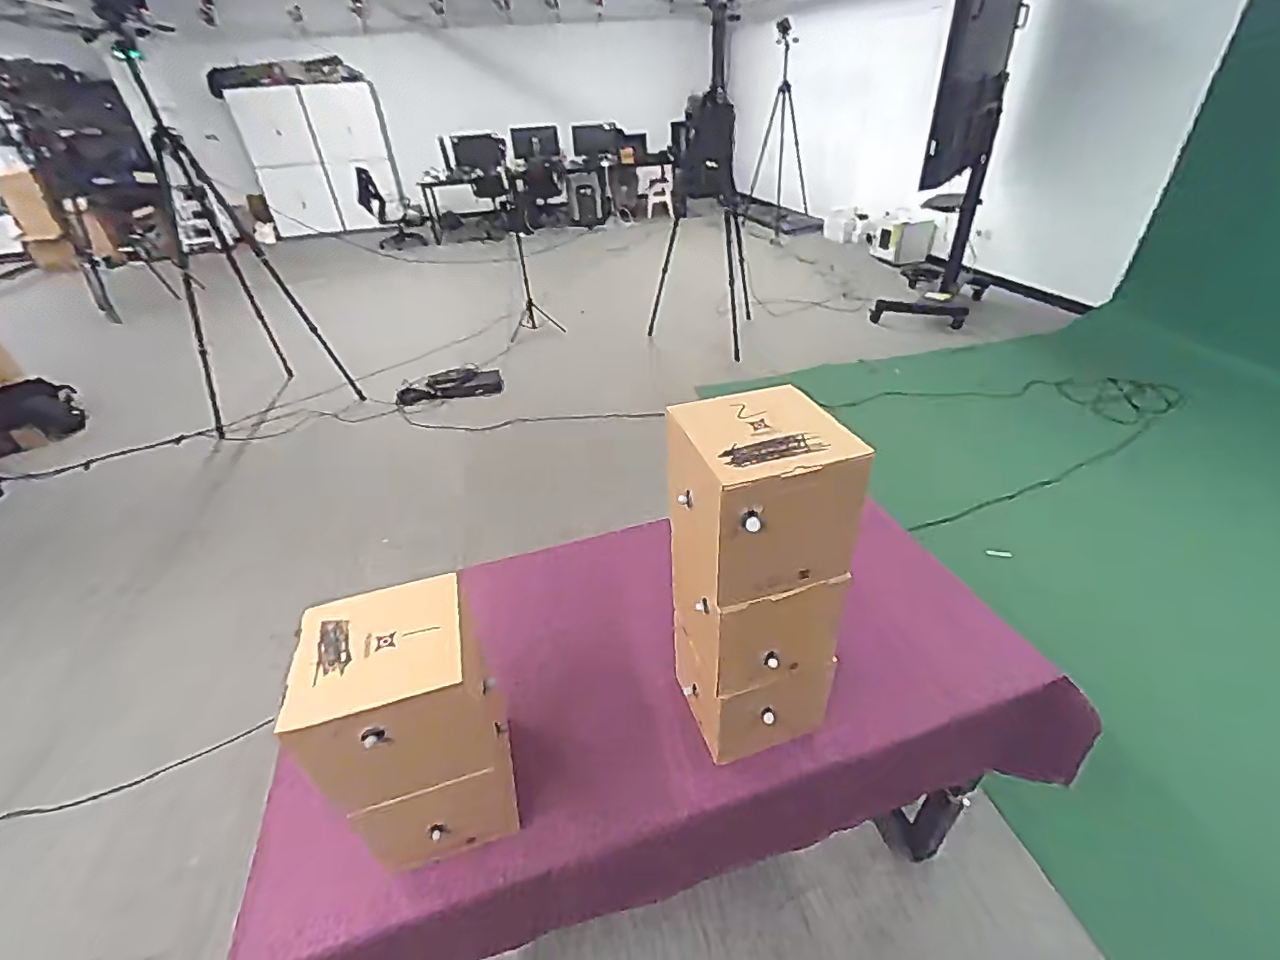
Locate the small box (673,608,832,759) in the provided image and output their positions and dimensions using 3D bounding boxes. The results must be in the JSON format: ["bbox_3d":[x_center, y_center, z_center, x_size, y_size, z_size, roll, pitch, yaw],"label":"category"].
[{"bbox_3d":[0.161,0.283,0.812,0.179,0.176,0.168,-14,37,-12],"label":"small box"}]

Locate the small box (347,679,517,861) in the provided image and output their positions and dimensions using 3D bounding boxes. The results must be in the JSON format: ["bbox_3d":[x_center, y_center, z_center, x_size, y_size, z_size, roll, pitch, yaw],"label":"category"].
[{"bbox_3d":[-0.268,0.376,0.728,0.168,0.176,0.179,-12,36,-12],"label":"small box"}]

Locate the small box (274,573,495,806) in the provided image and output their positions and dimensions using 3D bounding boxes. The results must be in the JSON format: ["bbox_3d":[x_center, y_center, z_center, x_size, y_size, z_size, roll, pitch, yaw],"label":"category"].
[{"bbox_3d":[-0.280,0.243,0.632,0.179,0.176,0.168,-13,36,-12],"label":"small box"}]

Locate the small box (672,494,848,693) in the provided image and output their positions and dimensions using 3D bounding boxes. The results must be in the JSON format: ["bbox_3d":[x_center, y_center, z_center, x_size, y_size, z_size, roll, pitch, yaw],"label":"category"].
[{"bbox_3d":[0.145,0.147,0.723,0.168,0.176,0.179,-12,37,-11],"label":"small box"}]
